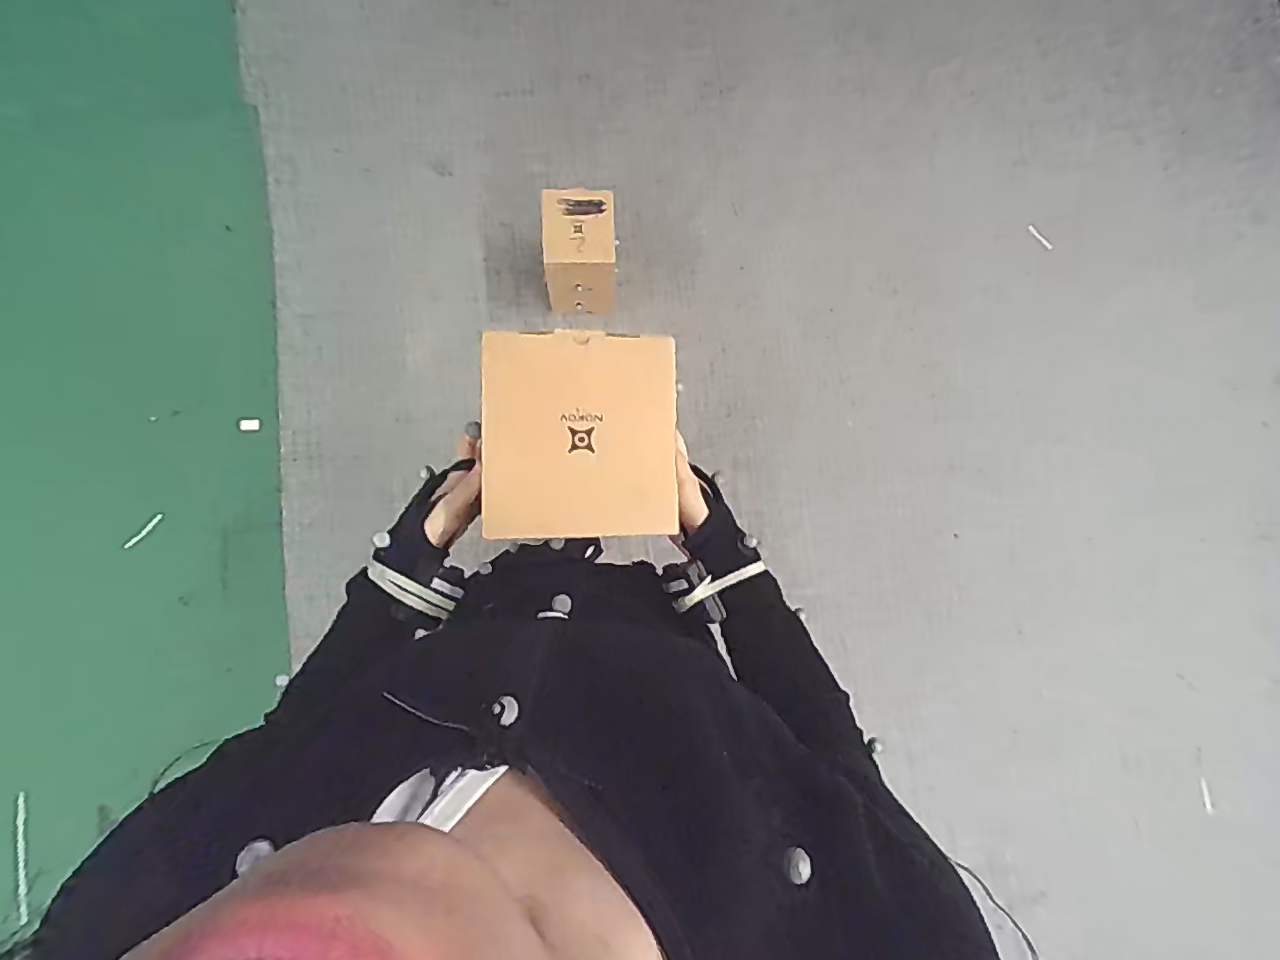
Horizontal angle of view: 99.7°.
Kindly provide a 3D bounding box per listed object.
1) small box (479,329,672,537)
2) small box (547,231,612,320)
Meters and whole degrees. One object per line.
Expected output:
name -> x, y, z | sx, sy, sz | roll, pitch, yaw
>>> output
small box -> -0.064, -0.038, 0.540 | 0.168, 0.176, 0.179 | -1, 88, -9
small box -> -0.163, -0.551, 1.478 | 0.168, 0.176, 0.179 | 1, 85, -5
